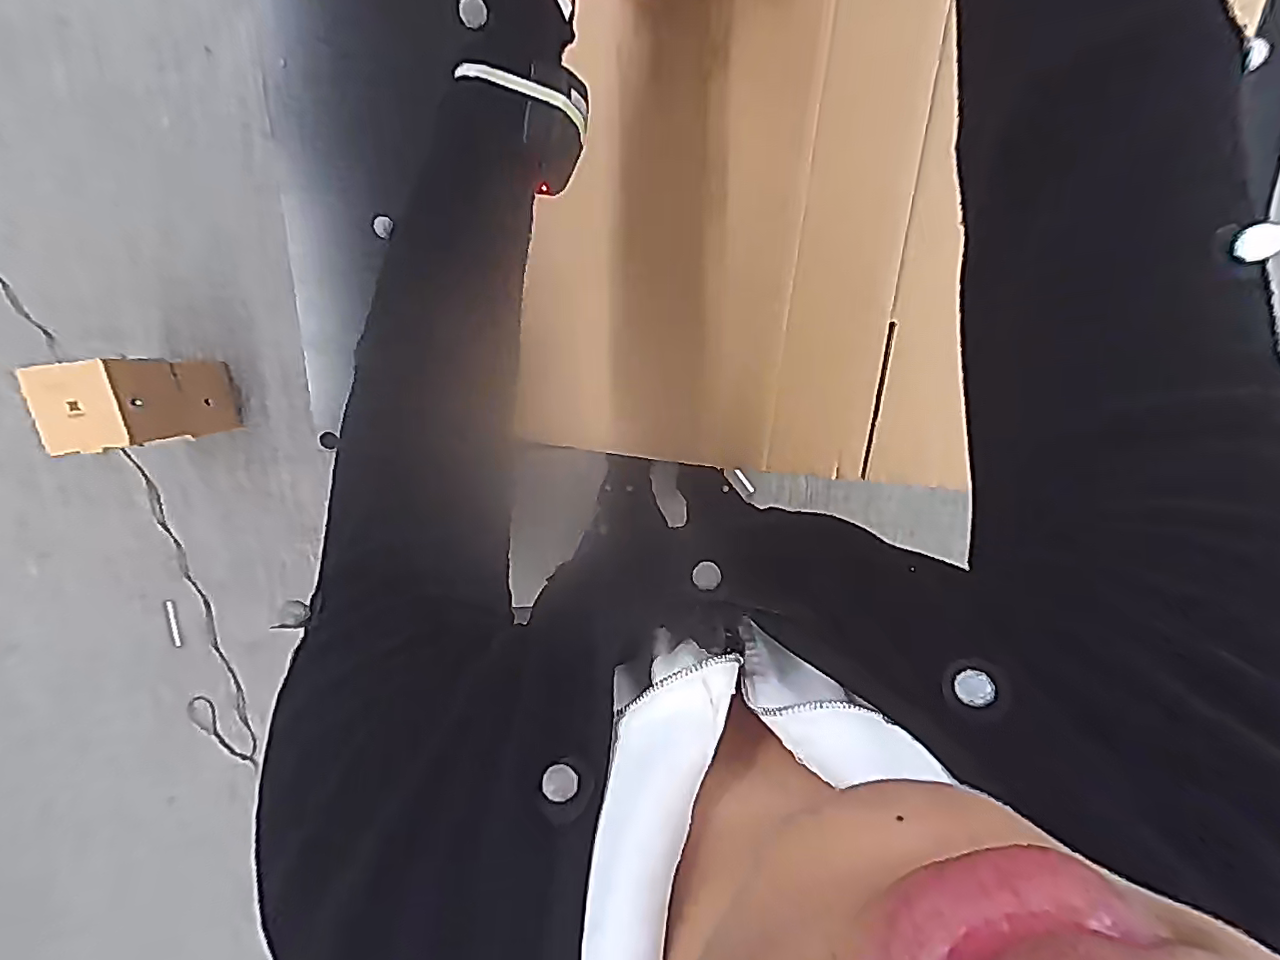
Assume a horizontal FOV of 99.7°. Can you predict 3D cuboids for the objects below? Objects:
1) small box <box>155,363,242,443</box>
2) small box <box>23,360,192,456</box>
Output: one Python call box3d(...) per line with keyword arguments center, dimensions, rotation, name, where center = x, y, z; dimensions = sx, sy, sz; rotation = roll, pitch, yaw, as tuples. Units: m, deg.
box3d(center=(-1.109, -0.188, 1.300), dimensions=(0.168, 0.176, 0.179), rotation=(-5, 104, -1), name="small box")
box3d(center=(-1.104, -0.157, 1.140), dimensions=(0.168, 0.176, 0.179), rotation=(-8, 102, -1), name="small box")
